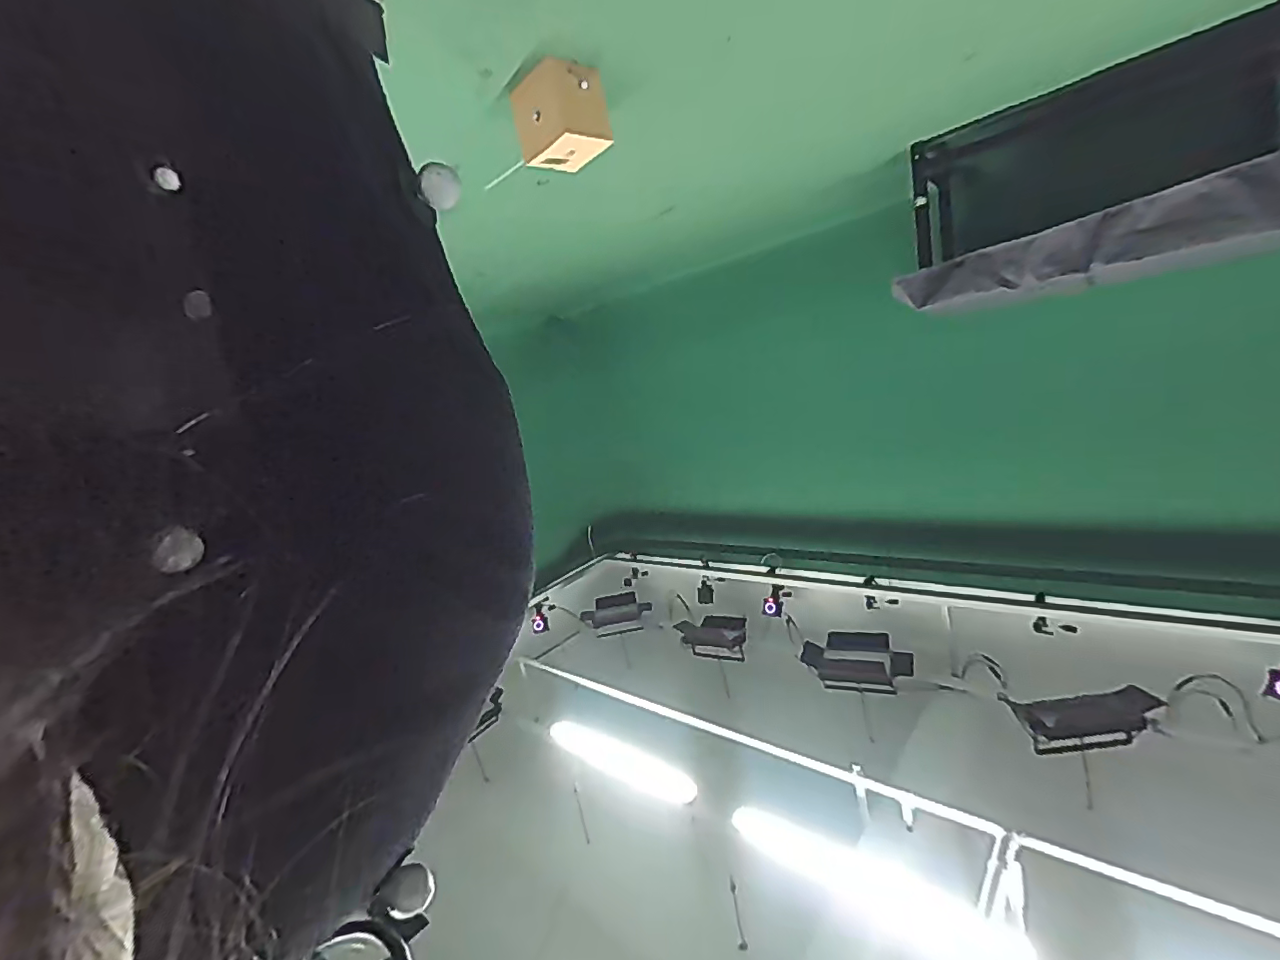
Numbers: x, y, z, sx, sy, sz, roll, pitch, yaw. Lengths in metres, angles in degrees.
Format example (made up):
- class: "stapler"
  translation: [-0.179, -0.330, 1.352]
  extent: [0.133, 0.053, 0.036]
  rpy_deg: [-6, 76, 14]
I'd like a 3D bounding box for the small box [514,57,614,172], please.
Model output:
- class: "small box"
  translation: [-0.195, -0.902, 1.347]
  extent: [0.179, 0.176, 0.168]
  rpy_deg: [-3, -165, 46]
